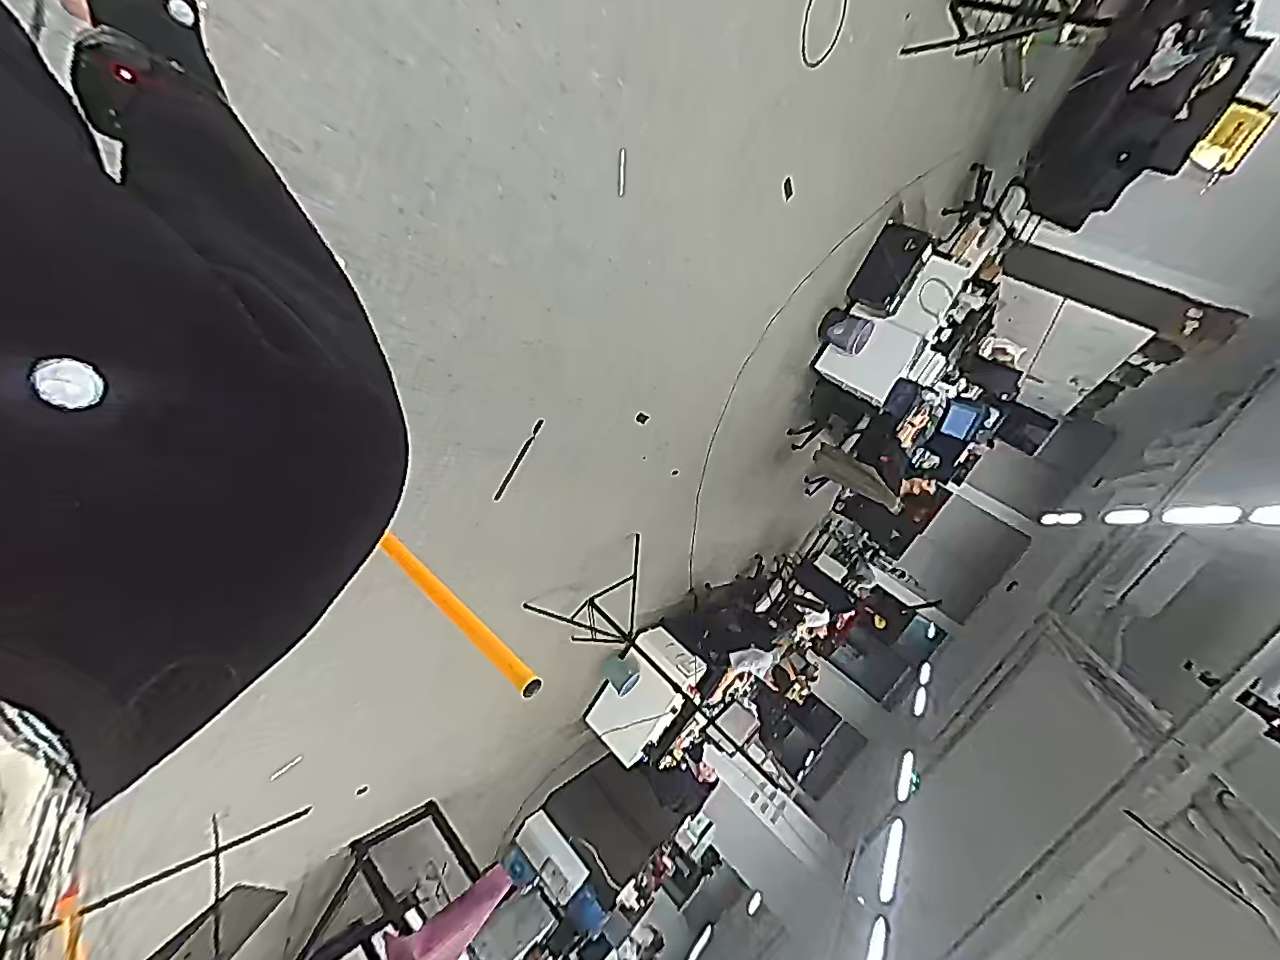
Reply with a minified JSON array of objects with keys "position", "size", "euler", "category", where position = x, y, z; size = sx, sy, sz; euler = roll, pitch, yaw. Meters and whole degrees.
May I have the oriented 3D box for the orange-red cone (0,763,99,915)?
[{"position":[-1.558,0.985,1.441],"size":[0.199,0.360,0.198],"euler":[-57,153,10],"category":"orange-red cone"}]
